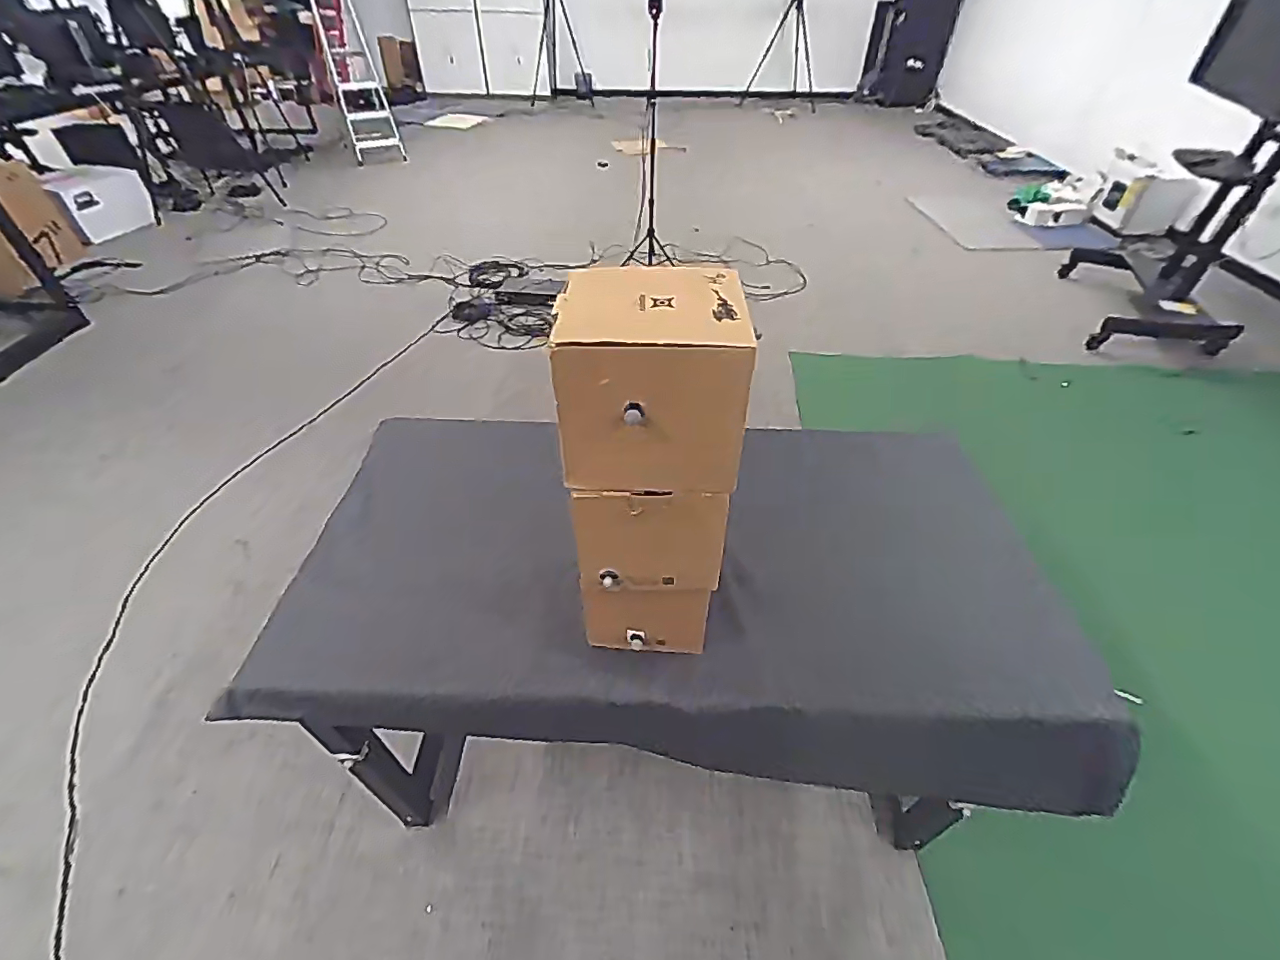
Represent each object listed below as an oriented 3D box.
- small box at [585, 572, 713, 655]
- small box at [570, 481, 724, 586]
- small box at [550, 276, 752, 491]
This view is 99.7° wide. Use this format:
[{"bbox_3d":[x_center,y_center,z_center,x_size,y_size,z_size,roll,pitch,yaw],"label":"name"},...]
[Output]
[{"bbox_3d":[0.017,0.133,0.794,0.168,0.176,0.179,1,44,3],"label":"small box"},{"bbox_3d":[0.011,0.019,0.675,0.168,0.176,0.179,-1,41,1],"label":"small box"},{"bbox_3d":[0.011,-0.101,0.567,0.179,0.176,0.168,-1,40,-1],"label":"small box"}]
